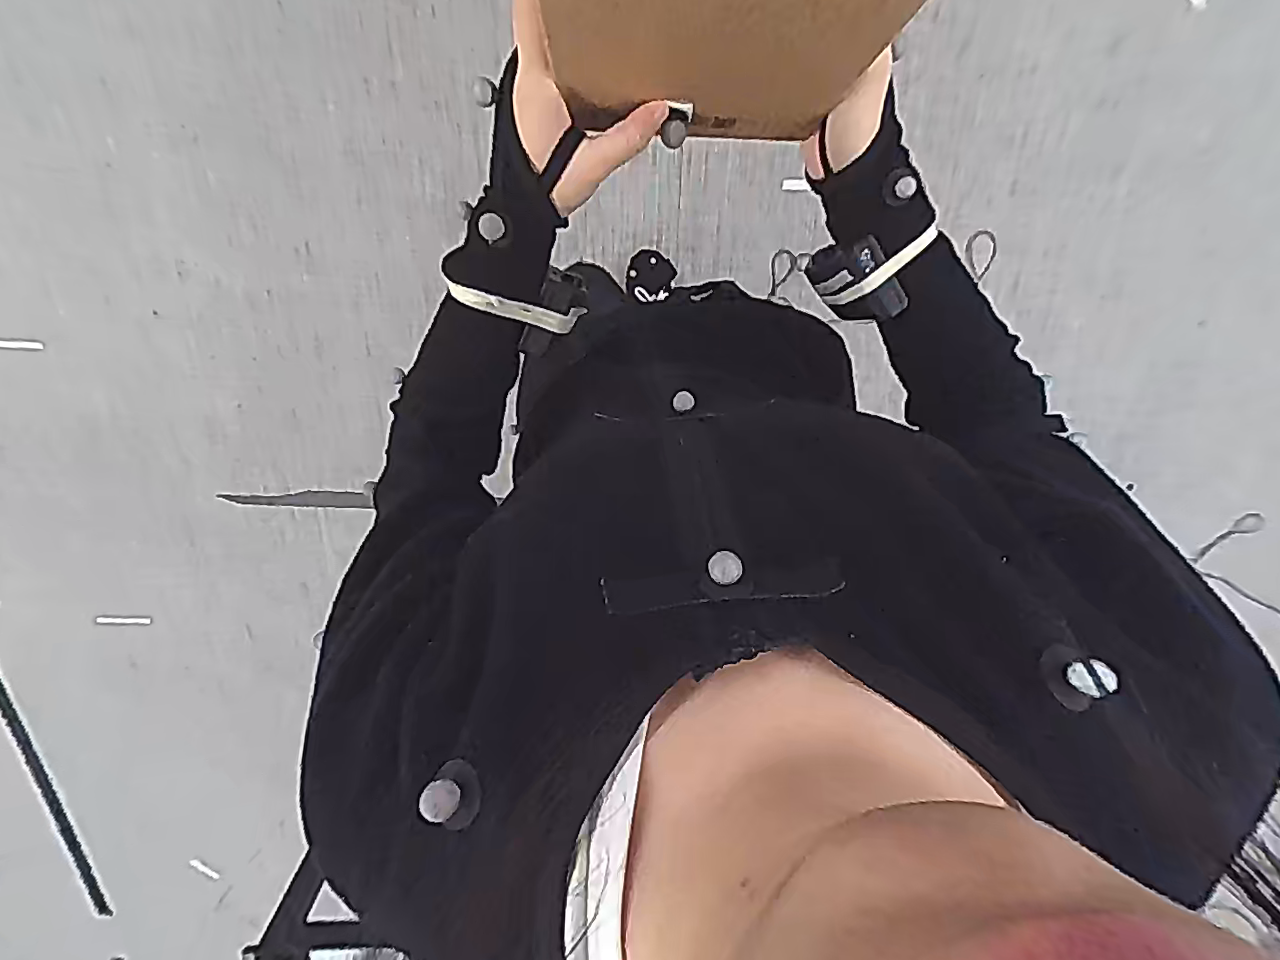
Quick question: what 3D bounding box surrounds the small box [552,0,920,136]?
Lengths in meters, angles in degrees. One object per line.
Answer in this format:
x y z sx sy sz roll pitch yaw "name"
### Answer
0.038 -0.303 0.268 0.168 0.176 0.179 0 104 -2 "small box"
